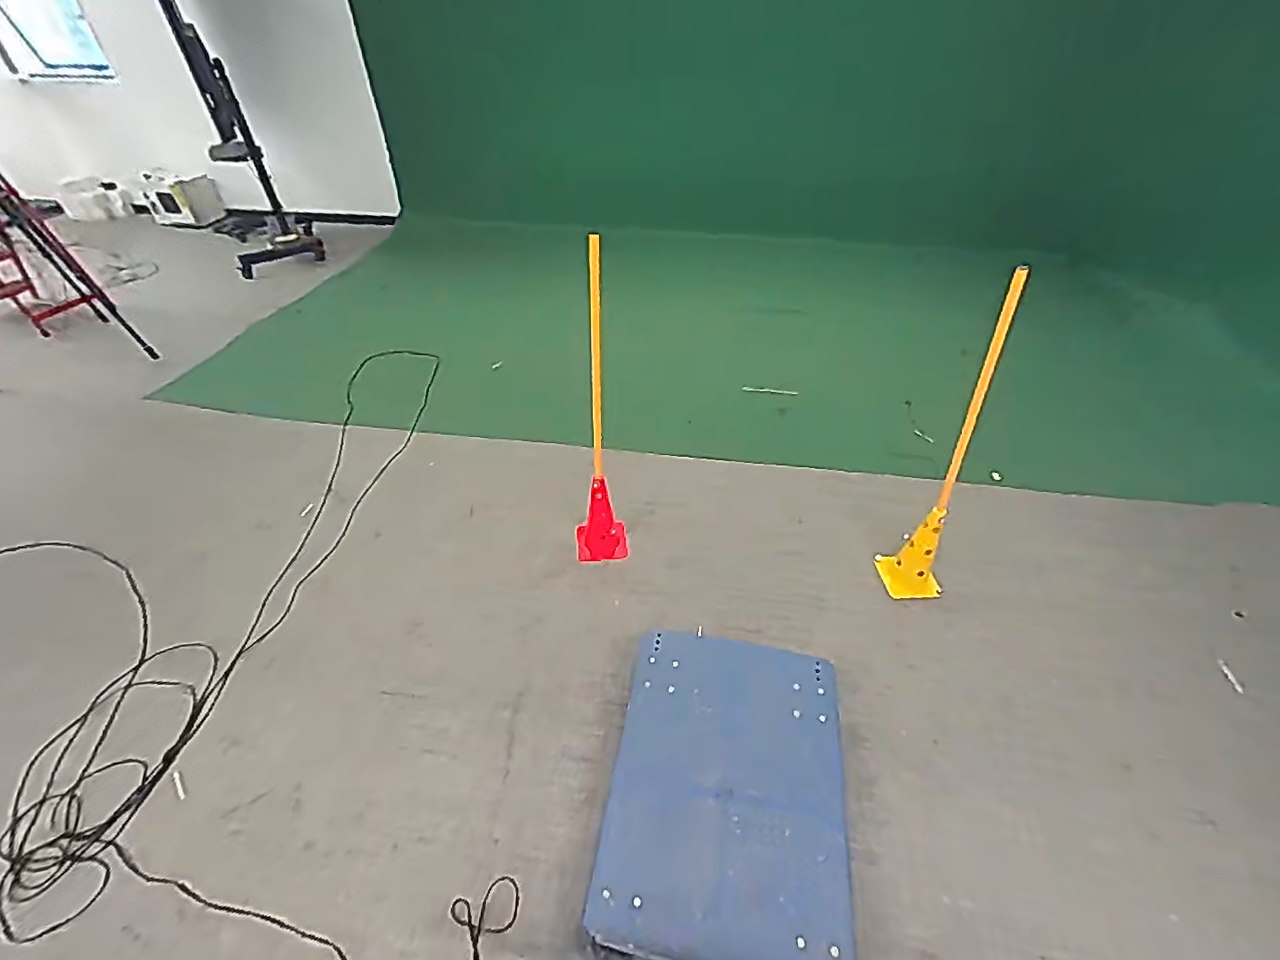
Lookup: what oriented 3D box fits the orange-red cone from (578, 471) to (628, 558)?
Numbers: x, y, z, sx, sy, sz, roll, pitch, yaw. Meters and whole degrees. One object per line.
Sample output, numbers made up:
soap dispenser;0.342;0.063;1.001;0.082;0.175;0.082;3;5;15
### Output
orange-red cone;-0.153;0.110;2.077;0.199;0.360;0.198;-5;42;-4
